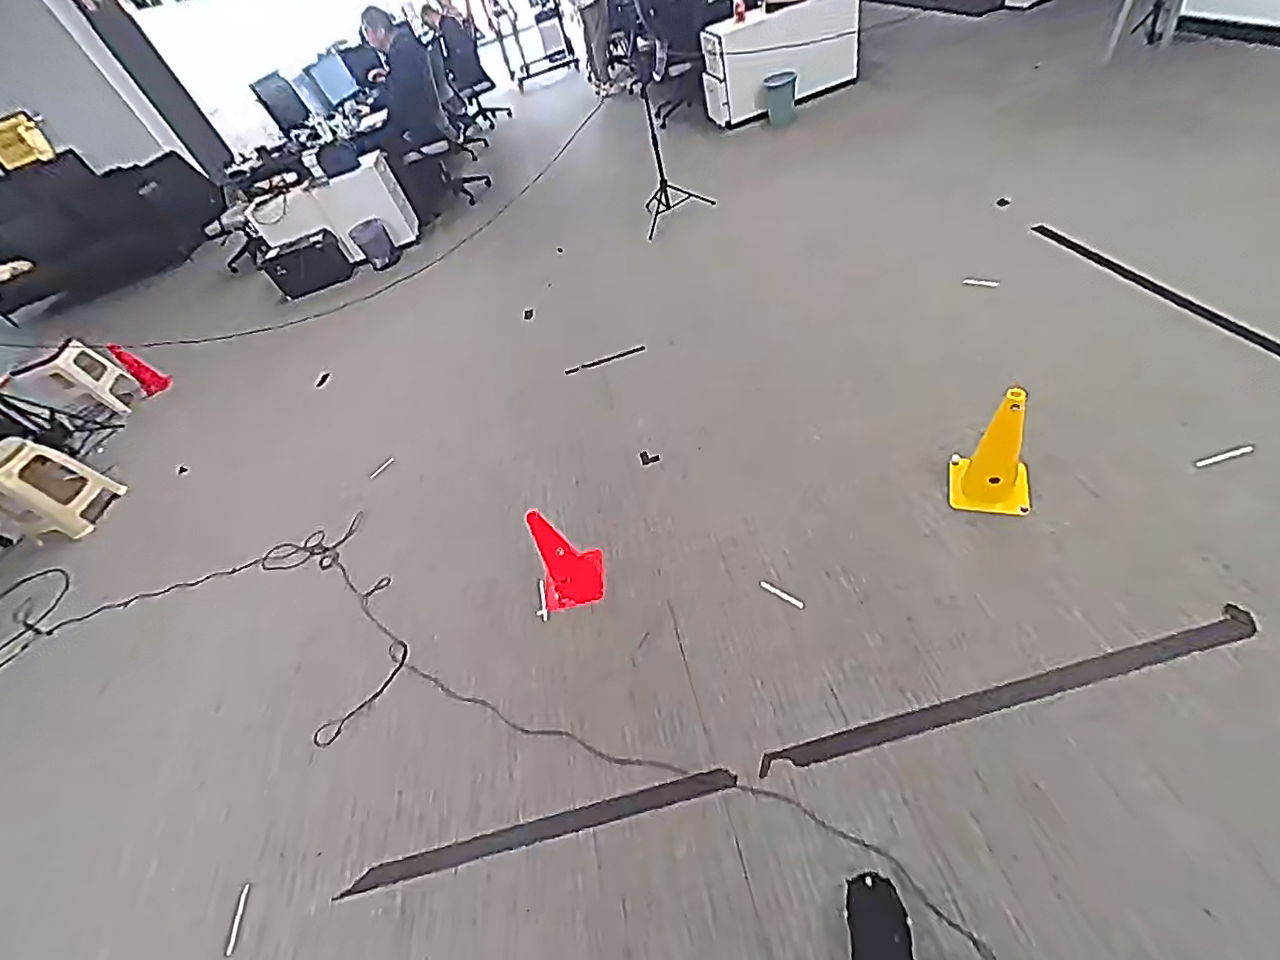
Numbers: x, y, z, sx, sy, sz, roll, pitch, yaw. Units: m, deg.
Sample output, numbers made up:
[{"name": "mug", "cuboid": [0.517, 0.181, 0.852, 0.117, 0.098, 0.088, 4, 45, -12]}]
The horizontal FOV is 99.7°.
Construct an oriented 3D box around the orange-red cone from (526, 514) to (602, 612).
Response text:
[{"name": "orange-red cone", "cuboid": [-0.261, 0.222, 1.650, 0.199, 0.360, 0.198, -13, 47, 7]}]
